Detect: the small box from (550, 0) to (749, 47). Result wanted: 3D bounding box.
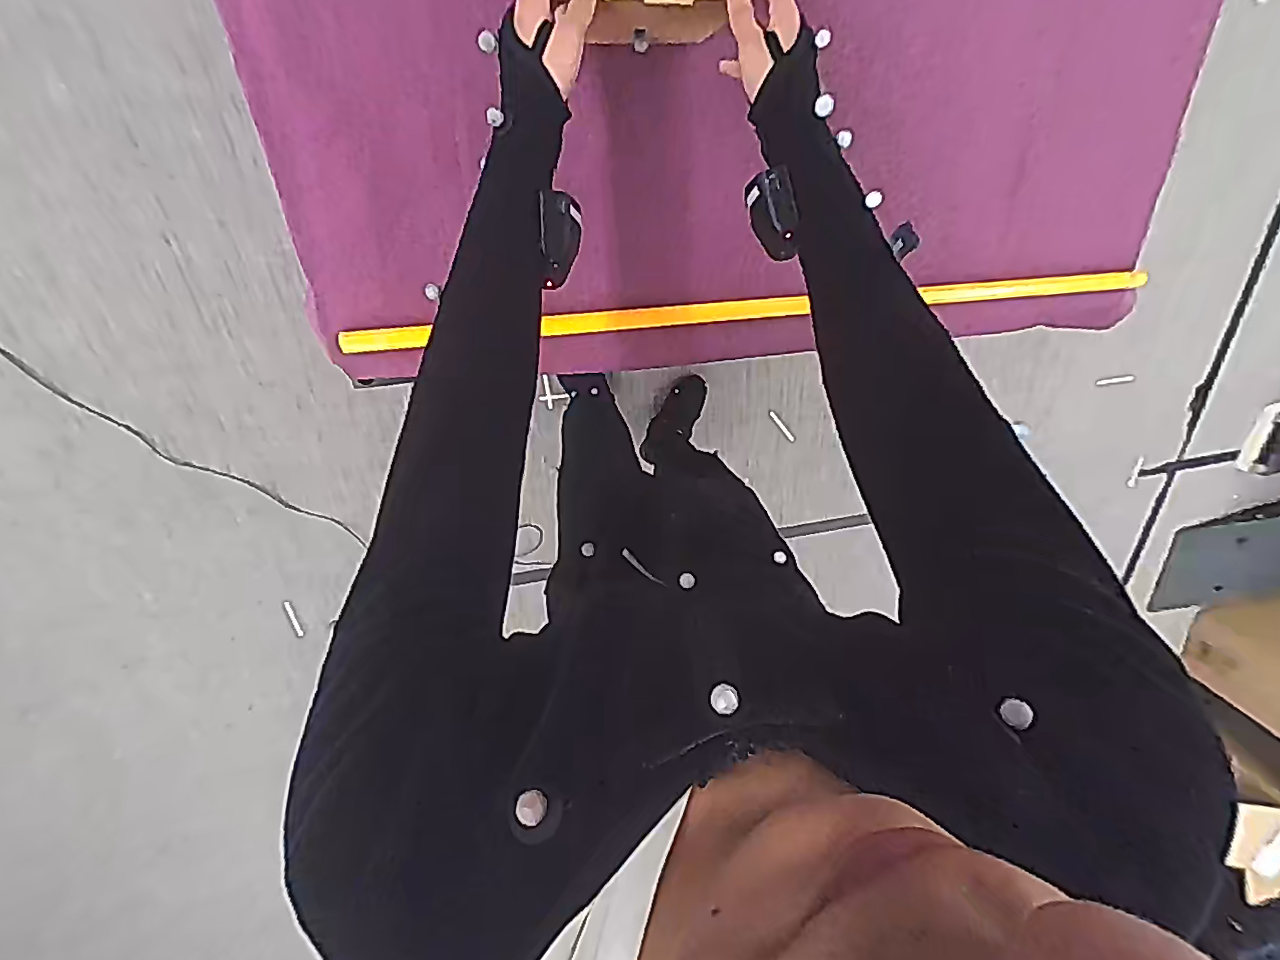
[{"bbox_3d":[-0.001,-0.529,0.498,0.168,0.176,0.179,-8,120,-10],"label":"small box"}]
